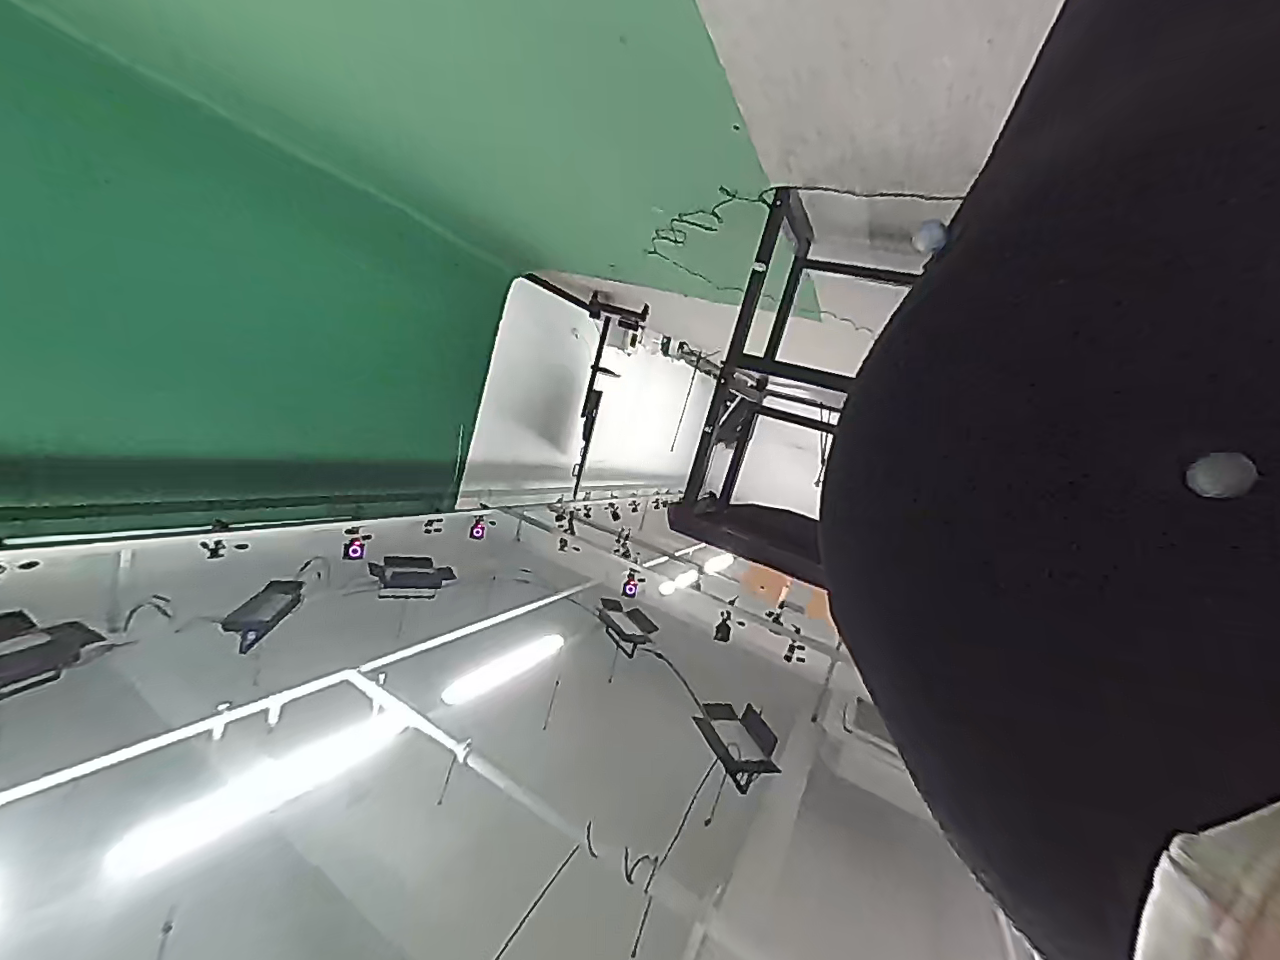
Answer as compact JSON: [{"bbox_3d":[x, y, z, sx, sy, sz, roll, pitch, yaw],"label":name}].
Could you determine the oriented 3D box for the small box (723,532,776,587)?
[{"bbox_3d":[0.488,0.346,2.374,0.179,0.176,0.168,20,-169,22],"label":"small box"}]

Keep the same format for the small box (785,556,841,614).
[{"bbox_3d":[0.730,0.435,2.277,0.179,0.176,0.168,19,-169,19],"label":"small box"}]
